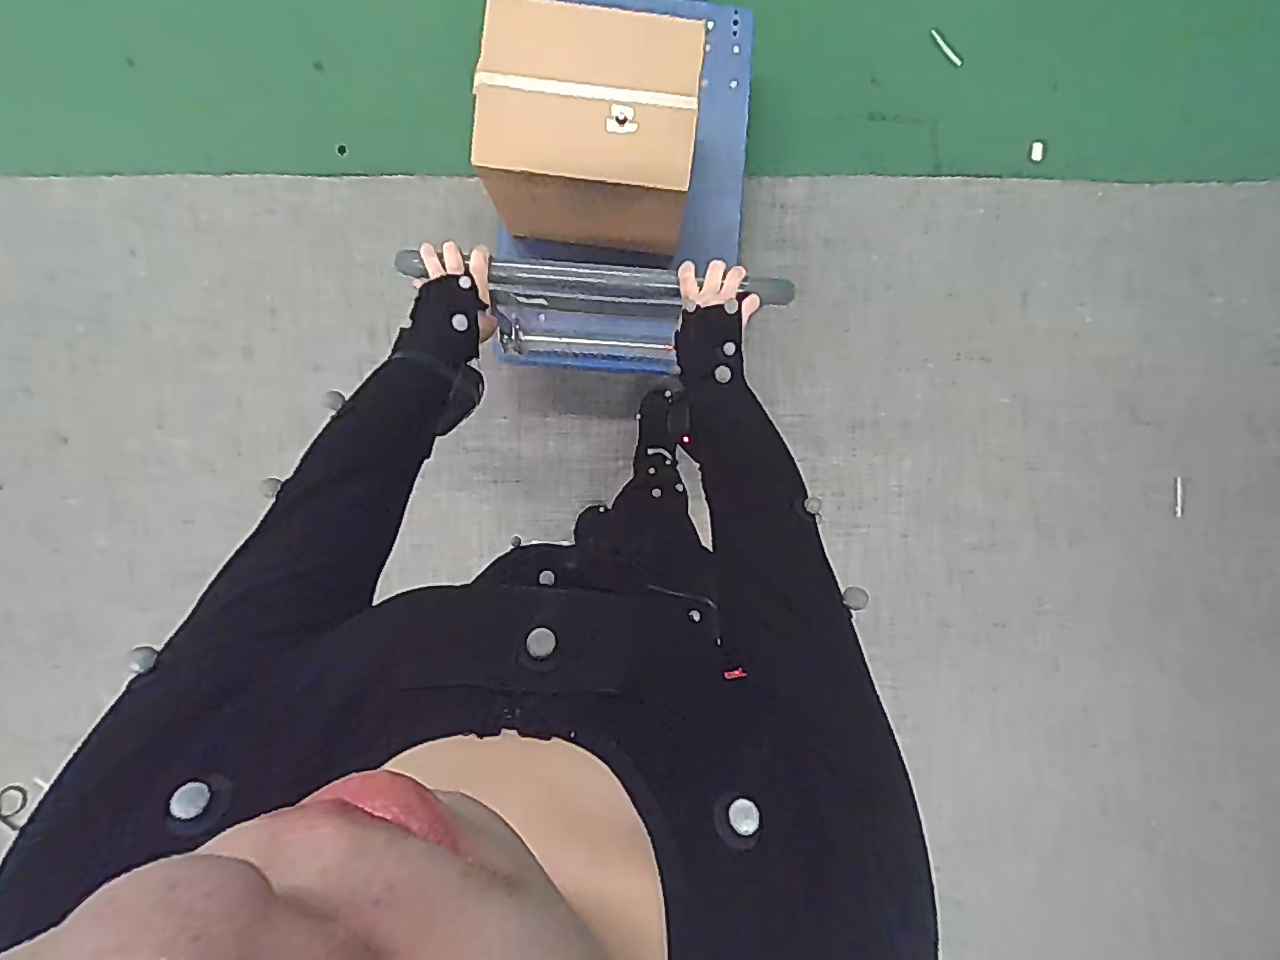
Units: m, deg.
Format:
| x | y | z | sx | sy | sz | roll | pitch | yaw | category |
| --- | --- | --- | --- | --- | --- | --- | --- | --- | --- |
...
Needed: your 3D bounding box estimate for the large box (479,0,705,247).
| x | y | z | sx | sy | sz | roll | pitch | yaw | category |
| --- | --- | --- | --- | --- | --- | --- | --- | --- | --- |
| -0.096 | -0.727 | 1.153 | 0.408 | 0.320 | 0.320 | 6 | 92 | -2 | large box |
